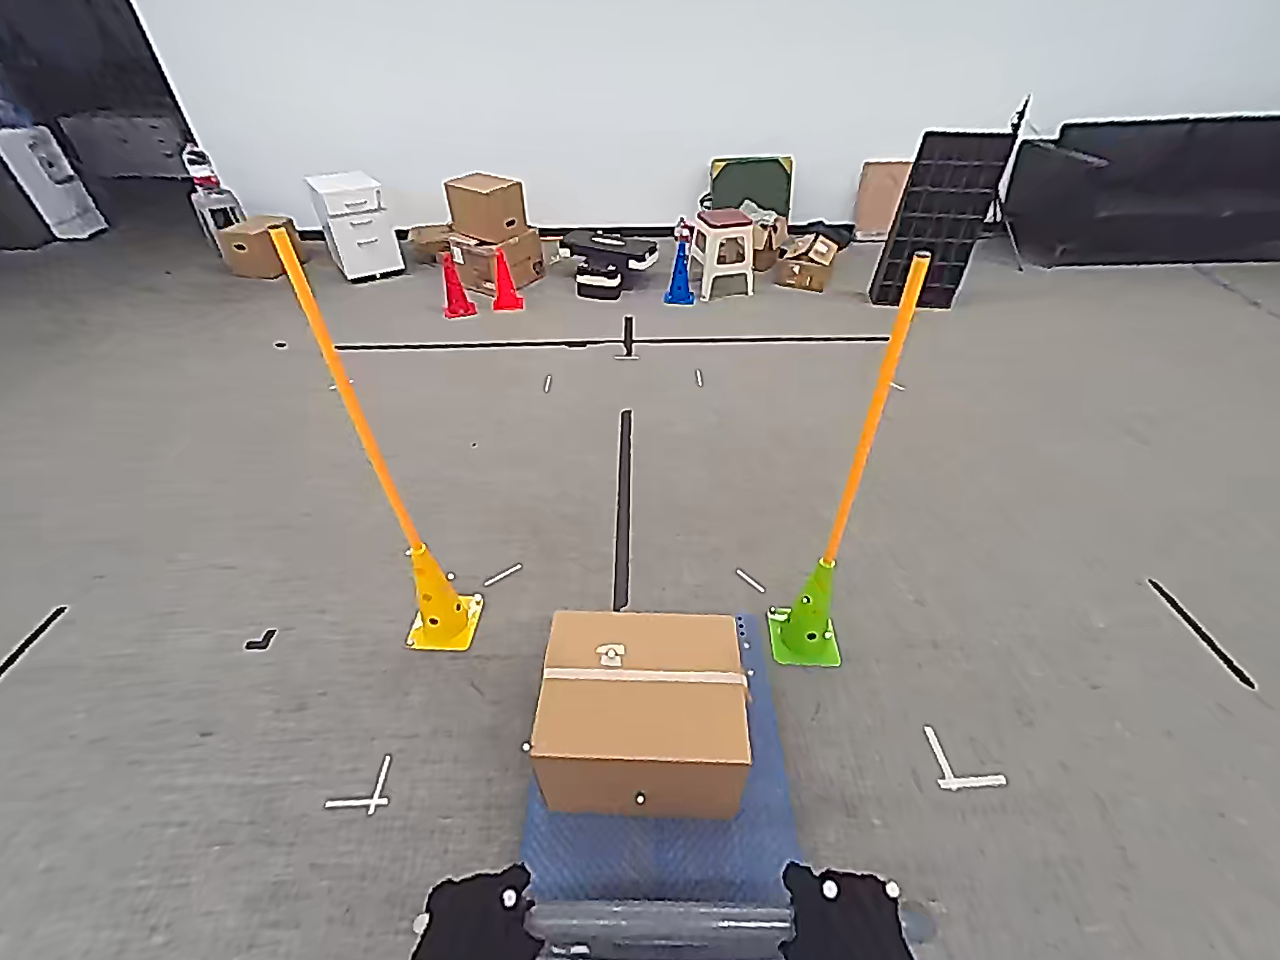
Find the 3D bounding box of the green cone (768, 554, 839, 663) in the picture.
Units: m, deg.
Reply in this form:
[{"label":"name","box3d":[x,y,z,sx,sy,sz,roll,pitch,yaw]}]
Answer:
[{"label":"green cone","box3d":[0.514,0.355,1.594,0.202,0.368,0.200,3,41,2]}]

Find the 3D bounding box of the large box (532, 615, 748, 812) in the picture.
[{"label":"large box","box3d":[0.008,0.517,1.198,0.408,0.320,0.320,0,41,3]}]
